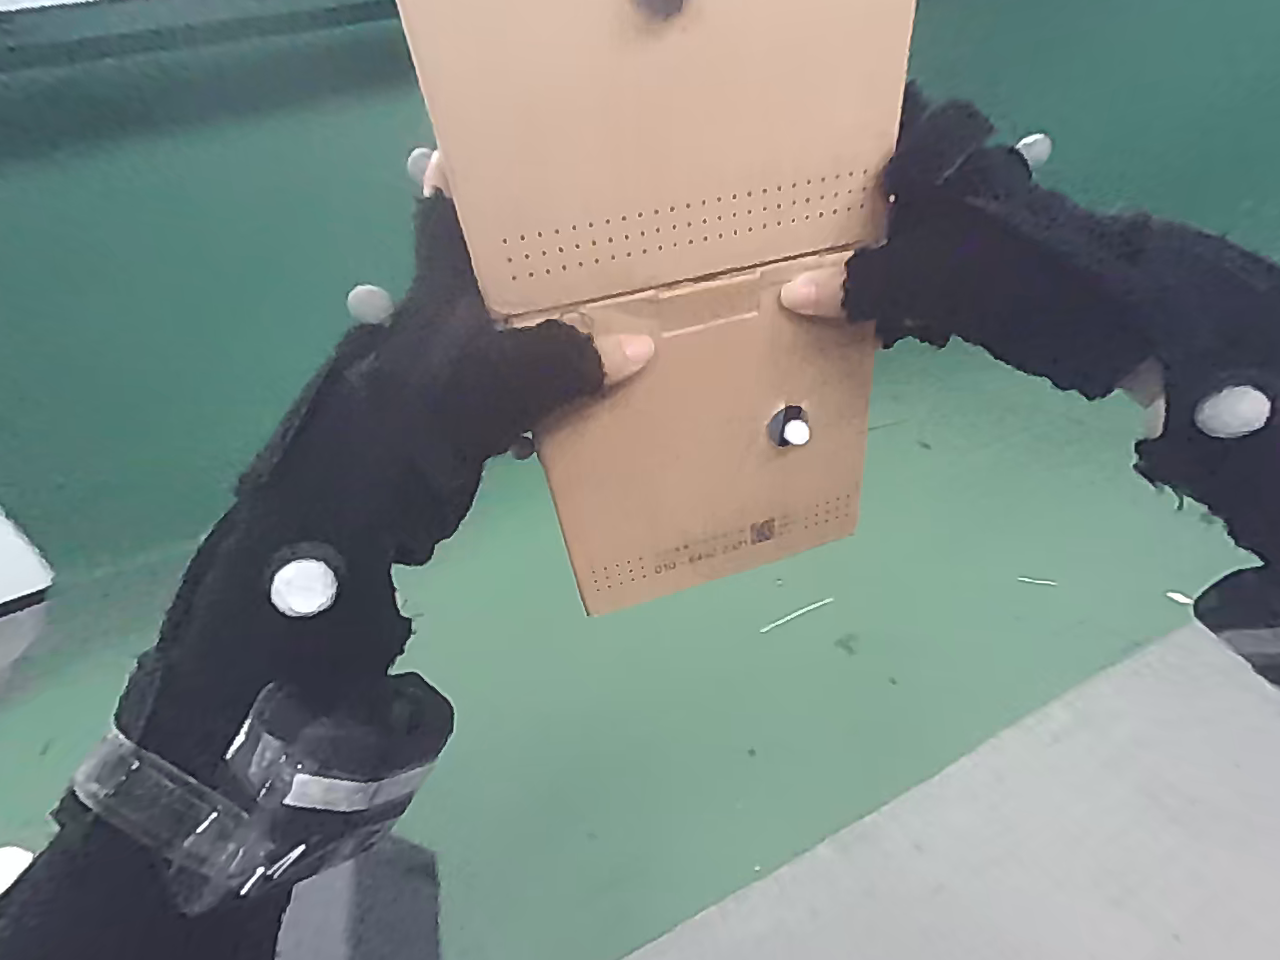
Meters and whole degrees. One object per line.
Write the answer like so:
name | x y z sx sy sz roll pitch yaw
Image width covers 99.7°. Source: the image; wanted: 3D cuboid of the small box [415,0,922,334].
small box | 0.000 -0.183 0.244 0.179 0.176 0.168 -16 35 -13

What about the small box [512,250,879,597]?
small box | 0.020 -0.049 0.337 0.168 0.176 0.179 -15 33 -9
